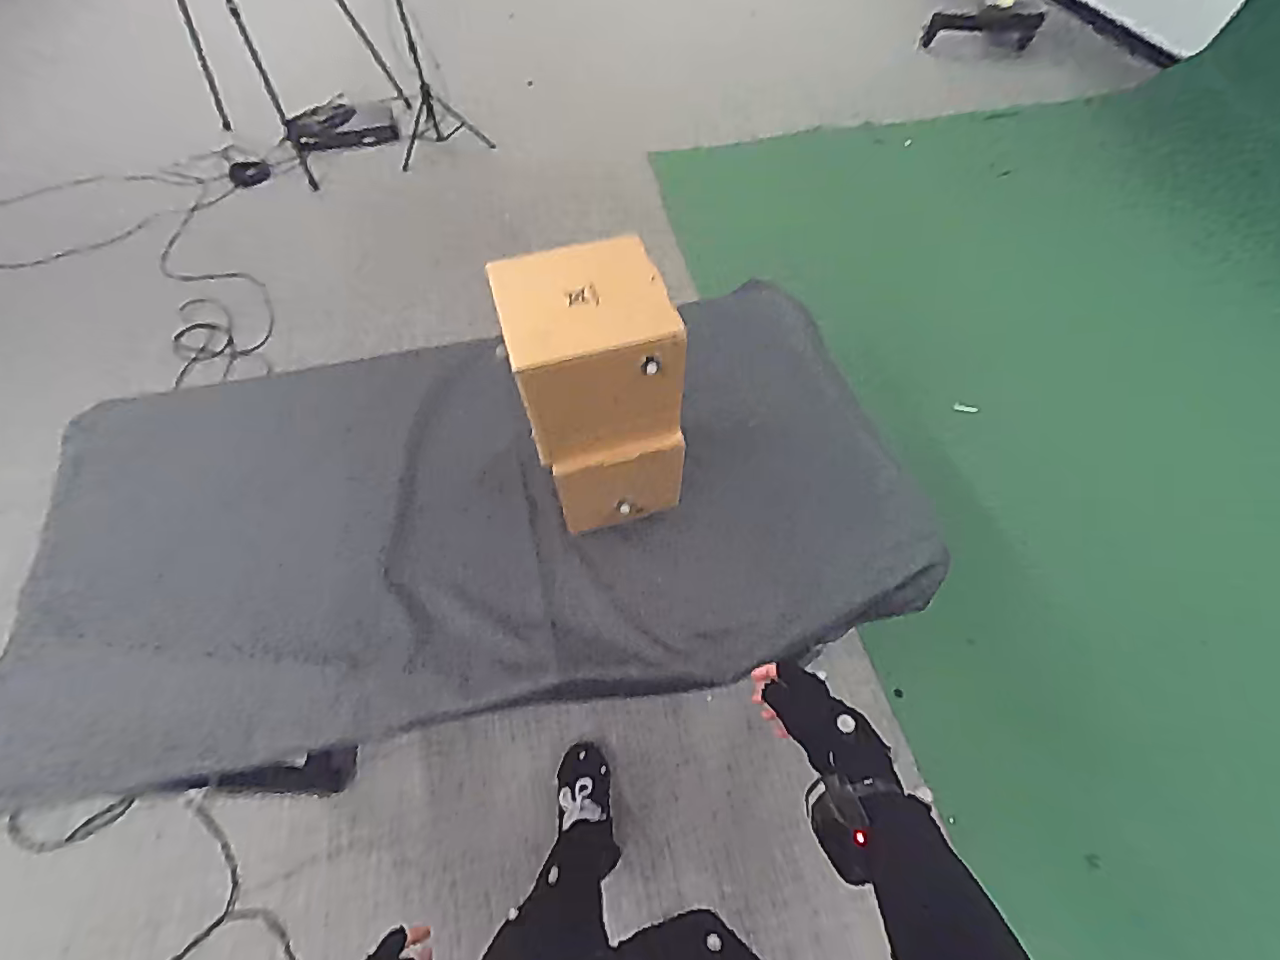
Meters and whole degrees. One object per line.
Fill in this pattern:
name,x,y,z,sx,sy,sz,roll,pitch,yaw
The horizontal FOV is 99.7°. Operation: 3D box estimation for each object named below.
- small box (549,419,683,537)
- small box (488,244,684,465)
small box,-0.048,-0.046,0.761,0.168,0.176,0.179,-14,59,-9
small box,-0.060,-0.139,0.627,0.179,0.176,0.168,-15,59,-10
